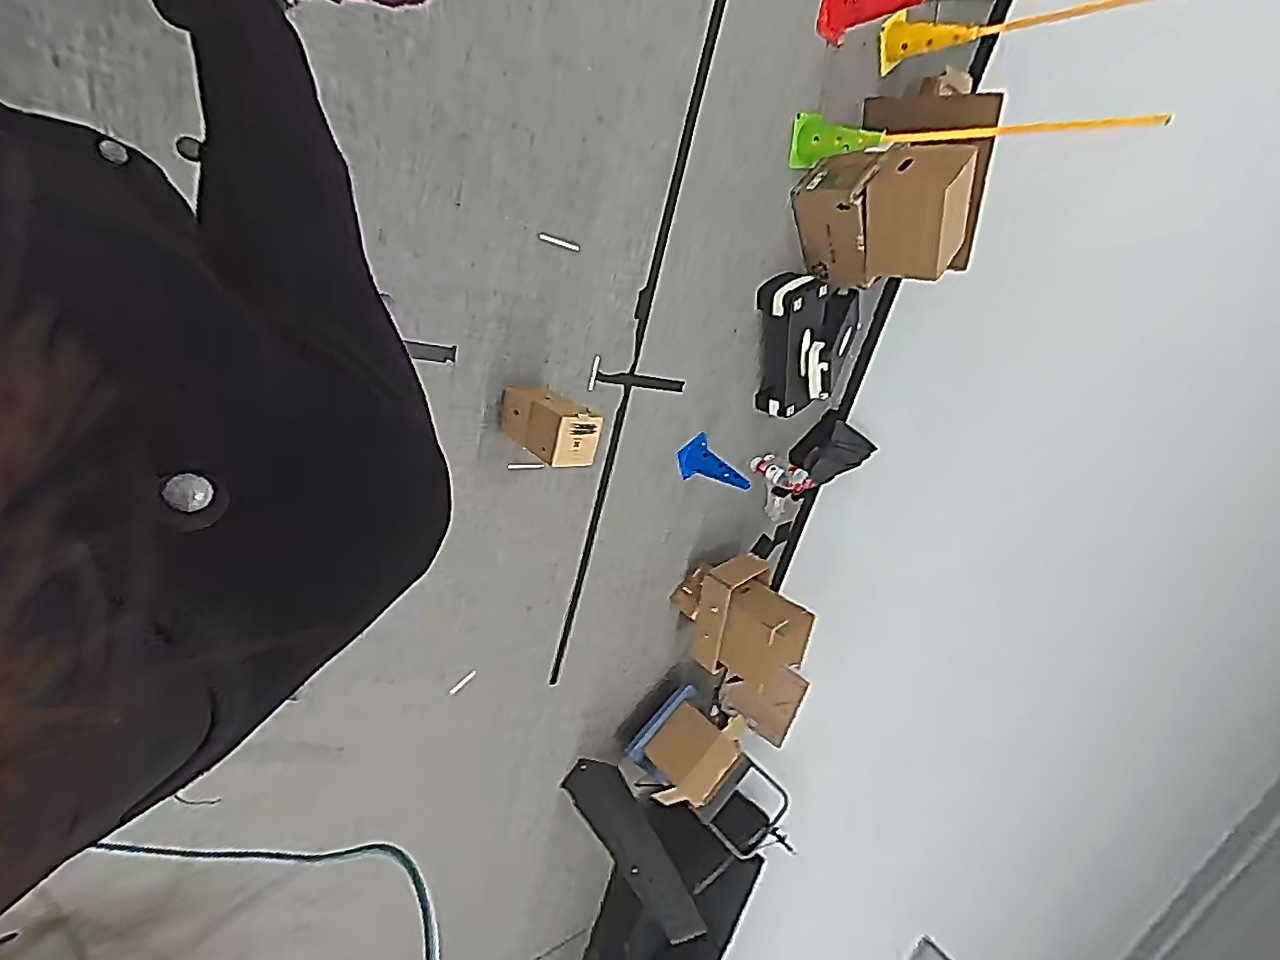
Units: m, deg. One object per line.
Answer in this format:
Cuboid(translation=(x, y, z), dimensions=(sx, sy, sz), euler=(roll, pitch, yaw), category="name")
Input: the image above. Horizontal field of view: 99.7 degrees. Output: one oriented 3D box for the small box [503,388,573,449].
Cuboid(translation=(-0.362, -0.219, 1.889), dimensions=(0.179, 0.176, 0.168), euler=(-9, 120, -43), category="small box")
